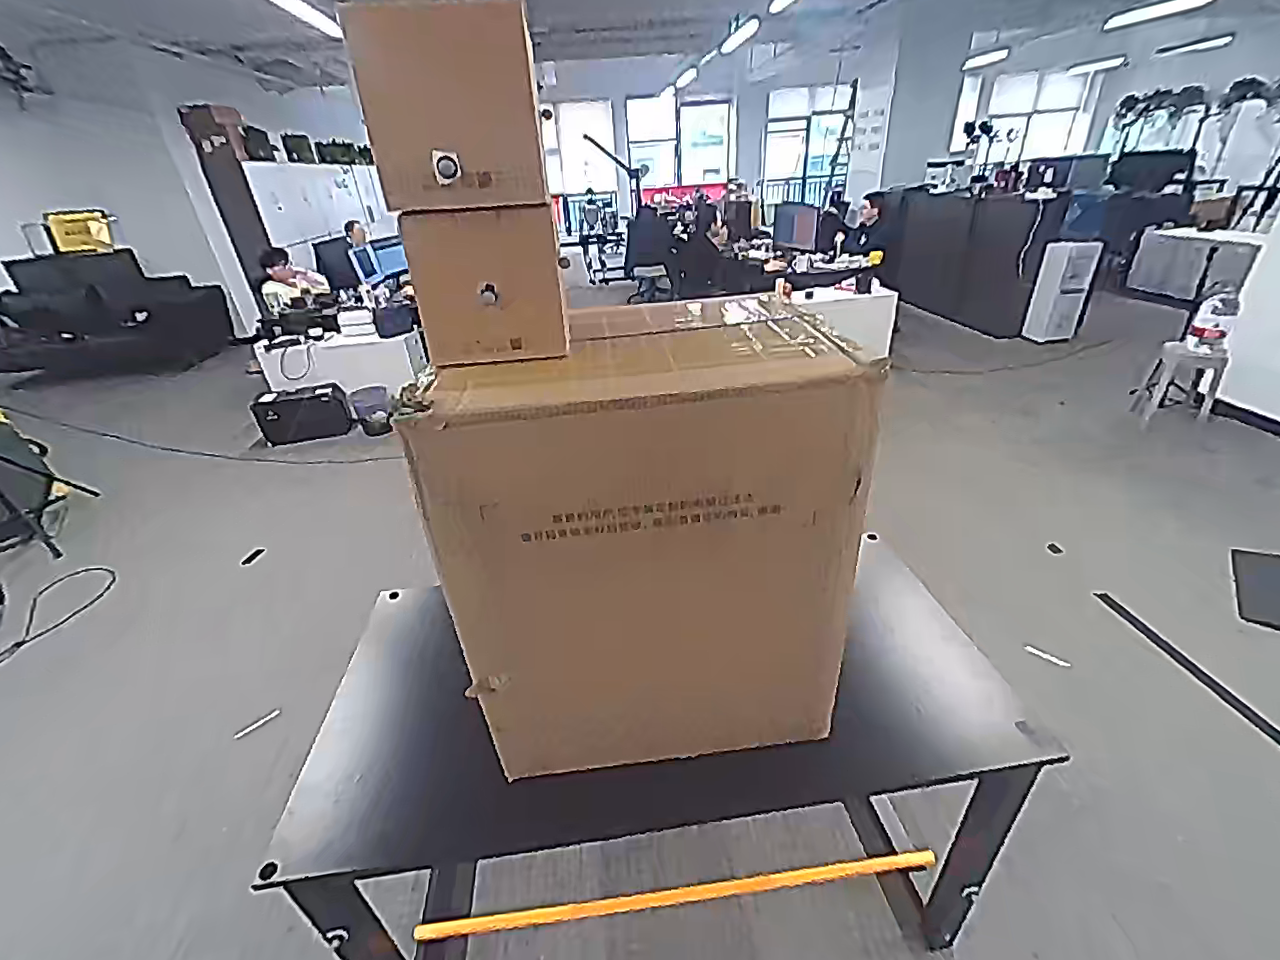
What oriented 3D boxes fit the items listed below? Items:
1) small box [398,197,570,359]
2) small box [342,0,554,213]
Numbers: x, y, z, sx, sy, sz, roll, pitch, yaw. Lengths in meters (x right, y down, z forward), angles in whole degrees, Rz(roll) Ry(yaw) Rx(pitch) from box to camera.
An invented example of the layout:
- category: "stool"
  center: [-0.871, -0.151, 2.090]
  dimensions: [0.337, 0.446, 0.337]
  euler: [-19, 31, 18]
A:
- category: "small box"
  center: [-0.179, -0.254, 0.682]
  dimensions: [0.168, 0.176, 0.179]
  euler: [-6, 30, -5]
- category: "small box"
  center: [-0.189, -0.390, 0.590]
  dimensions: [0.168, 0.176, 0.179]
  euler: [-8, 30, -5]
